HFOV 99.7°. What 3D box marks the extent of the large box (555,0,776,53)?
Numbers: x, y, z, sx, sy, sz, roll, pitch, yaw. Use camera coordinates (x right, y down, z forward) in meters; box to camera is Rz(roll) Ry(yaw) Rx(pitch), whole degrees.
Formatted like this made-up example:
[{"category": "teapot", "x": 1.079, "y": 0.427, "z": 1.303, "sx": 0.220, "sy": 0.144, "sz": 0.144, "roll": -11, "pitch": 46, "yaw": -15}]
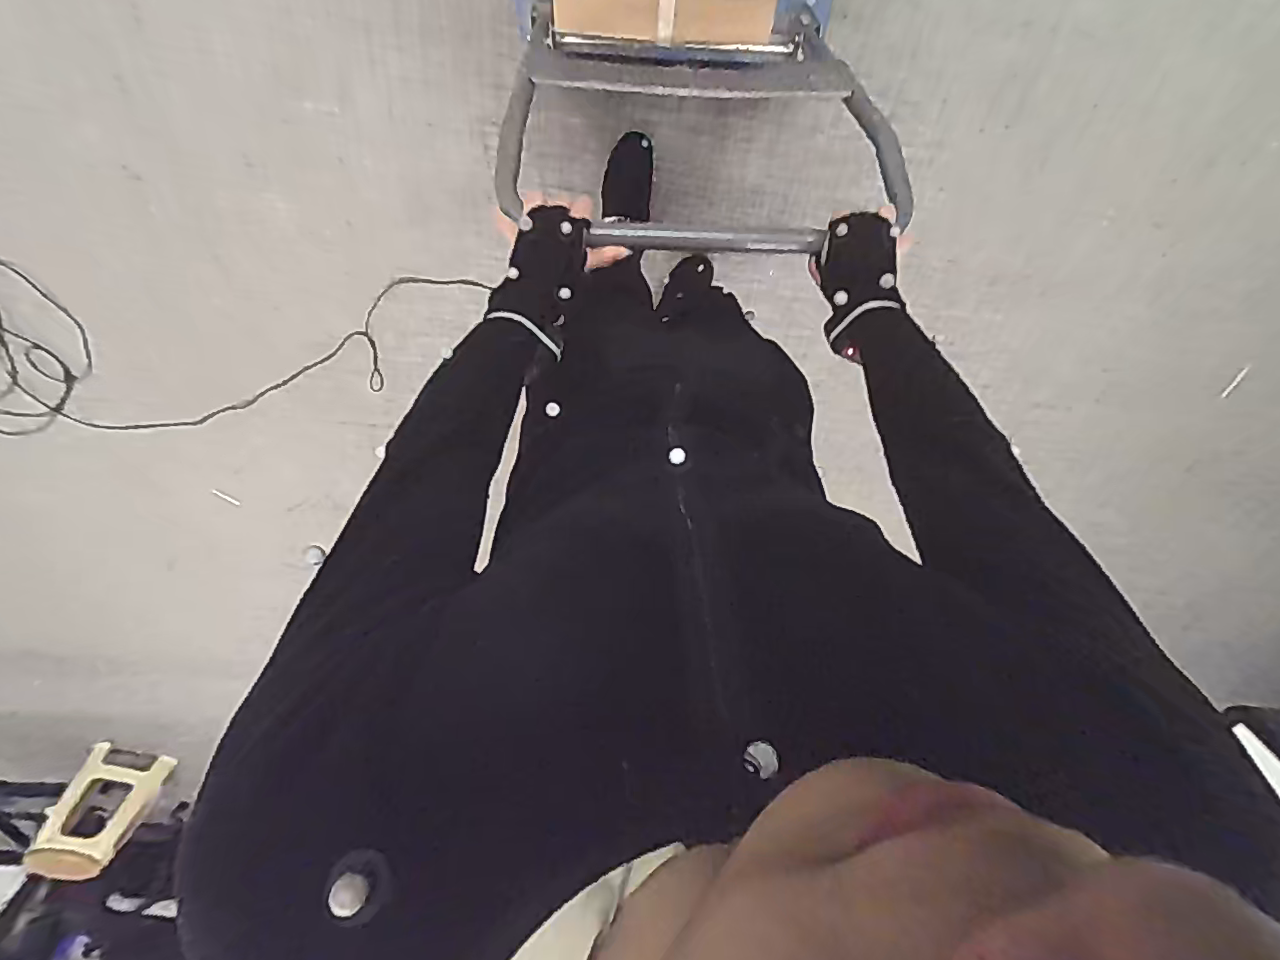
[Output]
[{"category": "large box", "x": 0.040, "y": -0.877, "z": 0.752, "sx": 0.320, "sy": 0.320, "sz": 0.408, "roll": 1, "pitch": 138, "yaw": -3}]
